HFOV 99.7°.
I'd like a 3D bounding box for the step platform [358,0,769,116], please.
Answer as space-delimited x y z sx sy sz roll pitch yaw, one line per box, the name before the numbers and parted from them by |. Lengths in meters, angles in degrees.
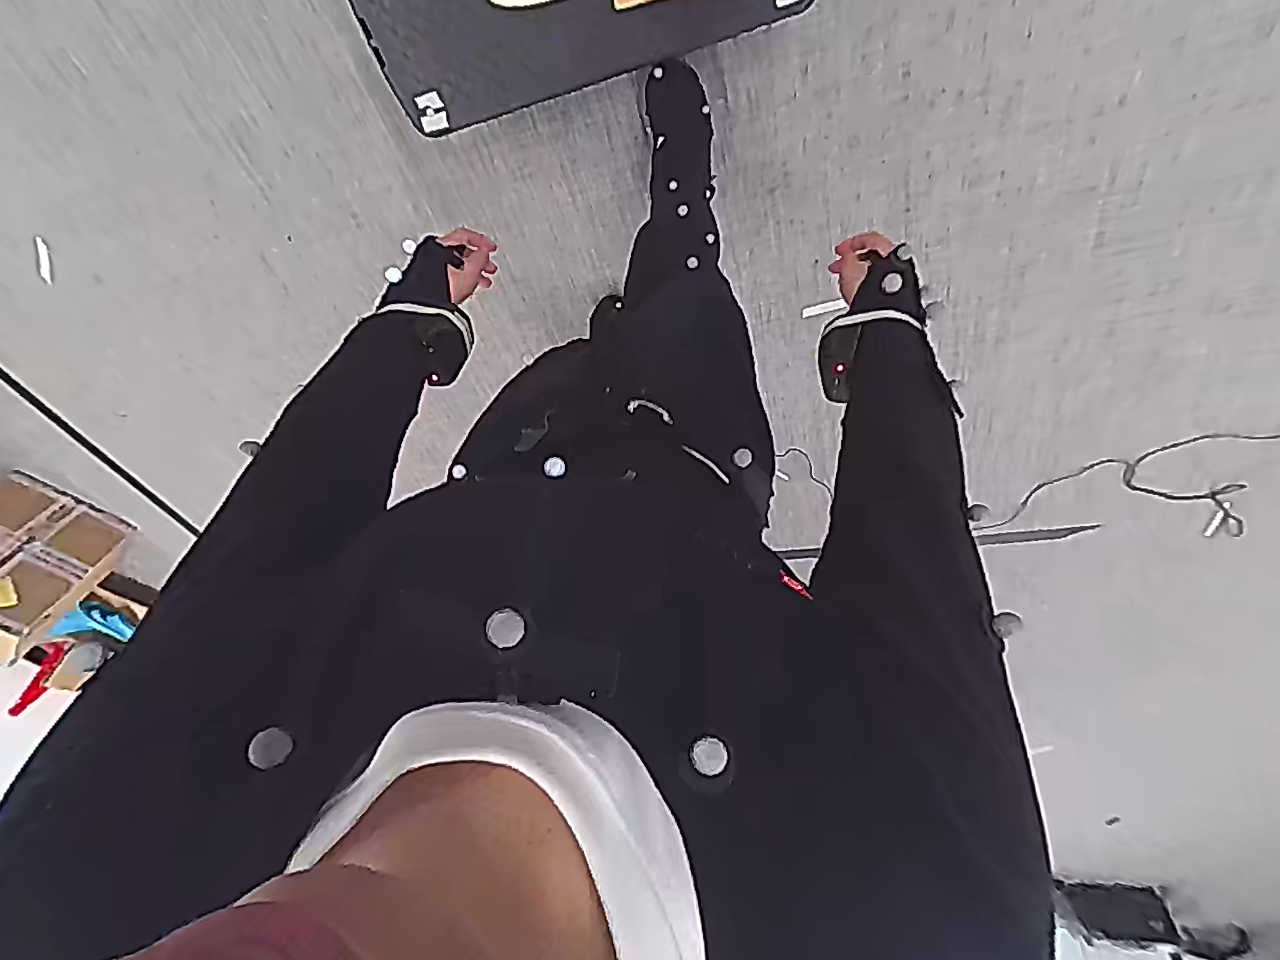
step platform | -0.079 -0.779 0.771 0.684 0.204 0.286 -7 131 16
